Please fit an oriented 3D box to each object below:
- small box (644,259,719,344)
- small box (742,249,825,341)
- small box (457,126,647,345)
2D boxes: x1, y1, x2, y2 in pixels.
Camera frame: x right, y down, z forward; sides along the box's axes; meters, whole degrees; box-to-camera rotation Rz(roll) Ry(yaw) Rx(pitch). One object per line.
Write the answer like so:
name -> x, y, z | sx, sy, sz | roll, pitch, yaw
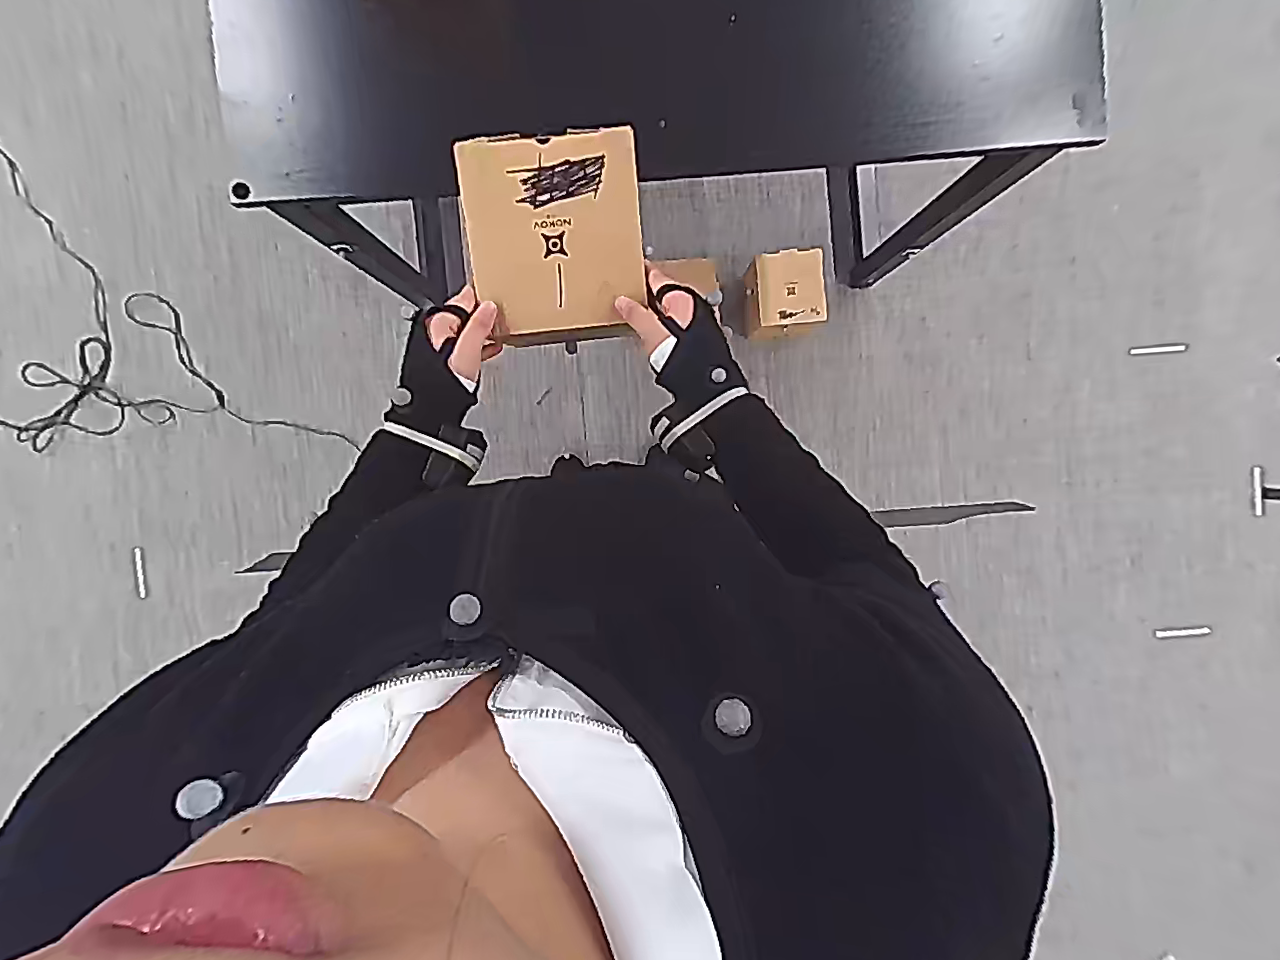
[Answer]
small box -> 0.101, -0.455, 1.394 | 0.179, 0.176, 0.168 | -5, 92, 1
small box -> 0.363, -0.471, 1.393 | 0.168, 0.176, 0.179 | -5, 92, 0
small box -> -0.085, -0.248, 0.588 | 0.168, 0.176, 0.179 | -6, 101, -1
